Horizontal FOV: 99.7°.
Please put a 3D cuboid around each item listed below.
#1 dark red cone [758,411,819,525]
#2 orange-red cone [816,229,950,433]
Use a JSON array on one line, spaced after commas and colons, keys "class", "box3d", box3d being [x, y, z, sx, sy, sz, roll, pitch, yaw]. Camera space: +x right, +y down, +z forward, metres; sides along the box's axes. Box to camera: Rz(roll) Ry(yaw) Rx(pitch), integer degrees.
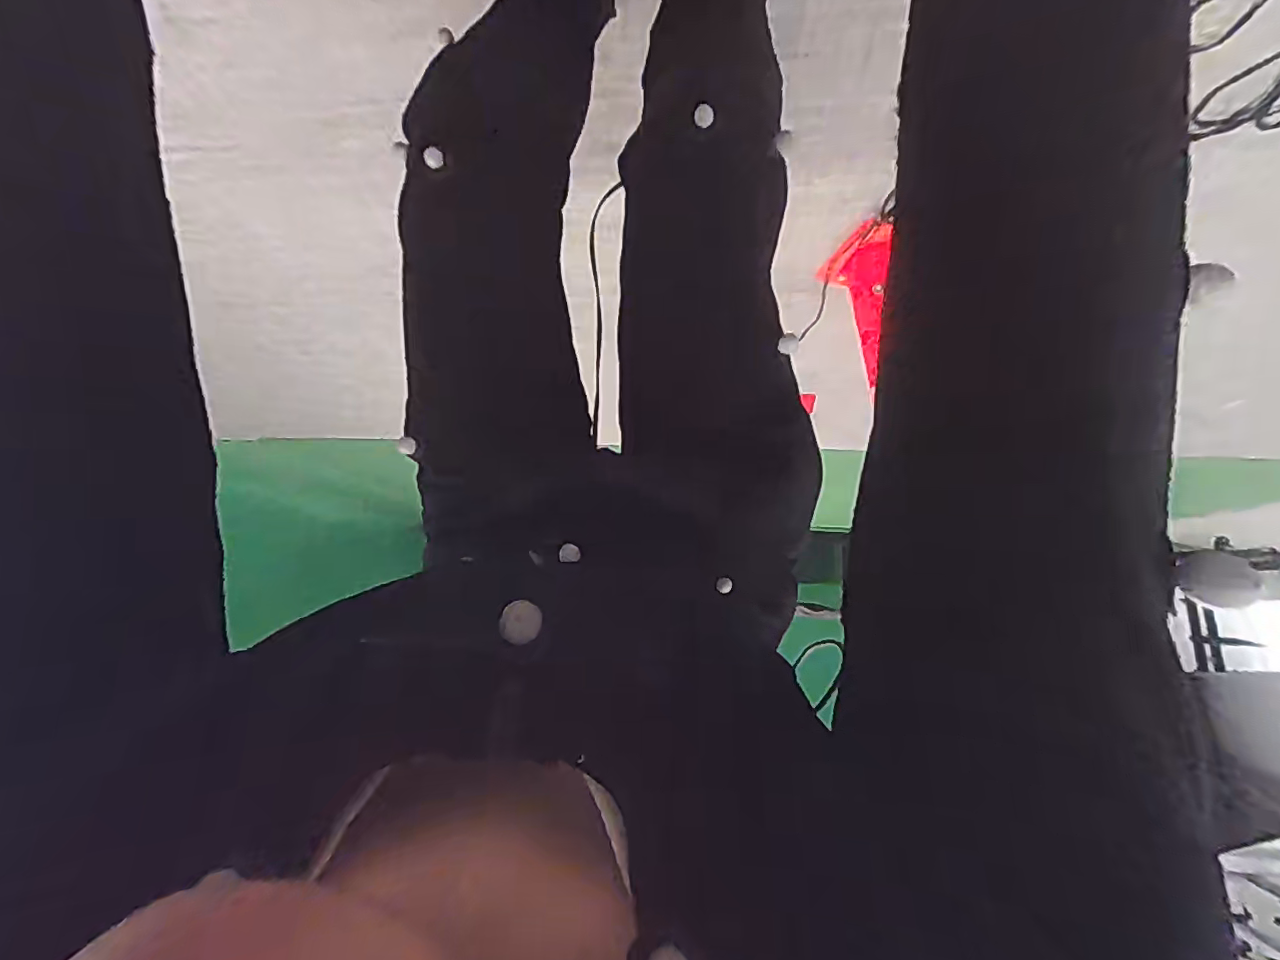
[{"class": "dark red cone", "box3d": [0.511, -0.041, 1.863, 0.202, 0.394, 0.201, 0, 168, 14]}, {"class": "orange-red cone", "box3d": [0.481, -0.267, 1.059, 0.199, 0.360, 0.198, 5, 167, -13]}]
